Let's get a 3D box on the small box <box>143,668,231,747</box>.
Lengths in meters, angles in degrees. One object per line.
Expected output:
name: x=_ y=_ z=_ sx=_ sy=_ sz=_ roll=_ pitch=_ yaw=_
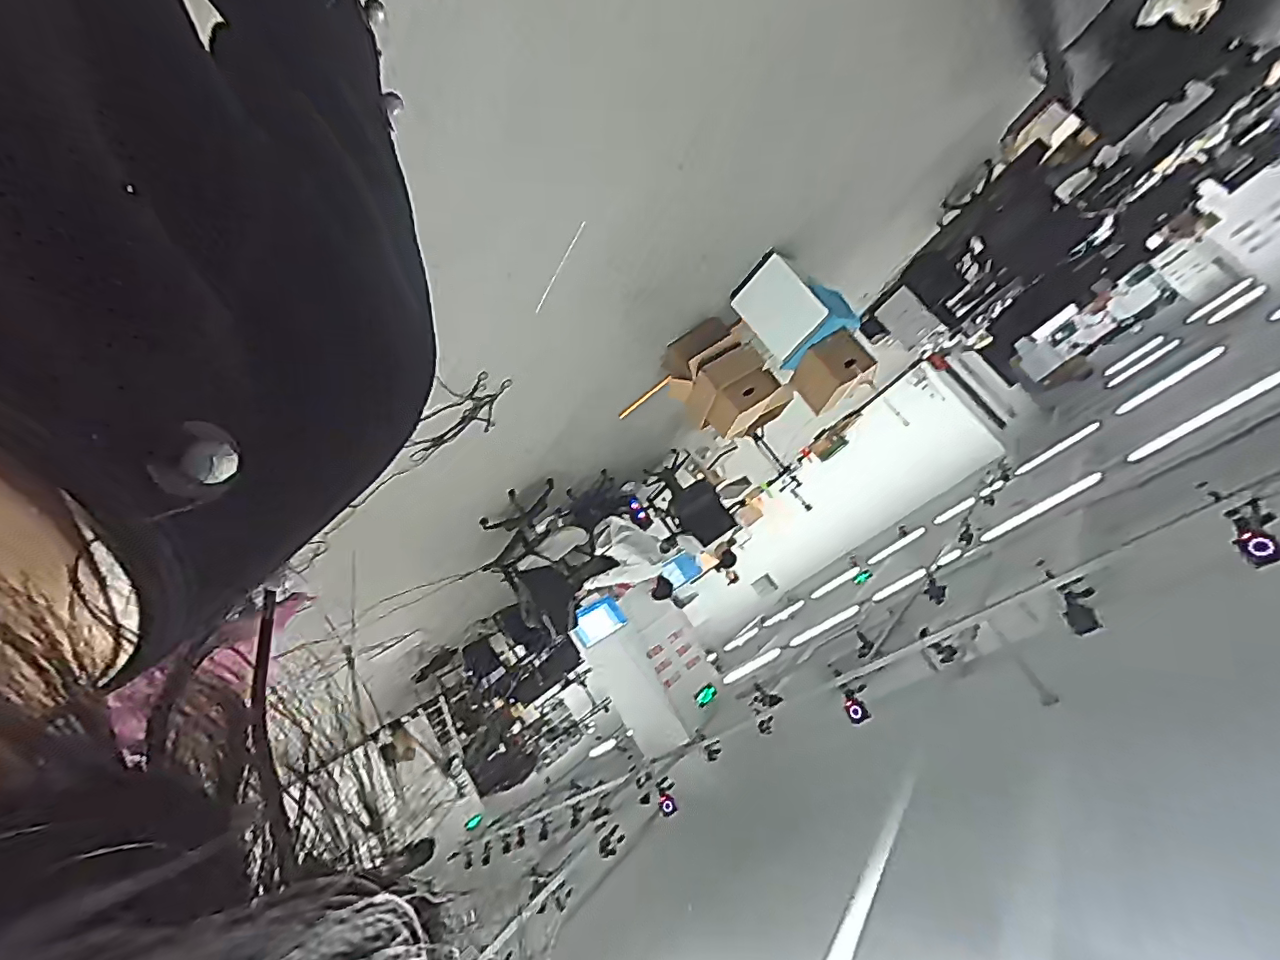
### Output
small box: x=-1.442 y=0.731 z=1.726 sx=0.179 sy=0.176 sz=0.168 roll=-20 pitch=159 yaw=-46

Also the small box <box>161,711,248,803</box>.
small box: x=-1.352 y=0.858 z=1.681 sx=0.179 sy=0.176 sz=0.168 roll=-22 pitch=160 yaw=-44
